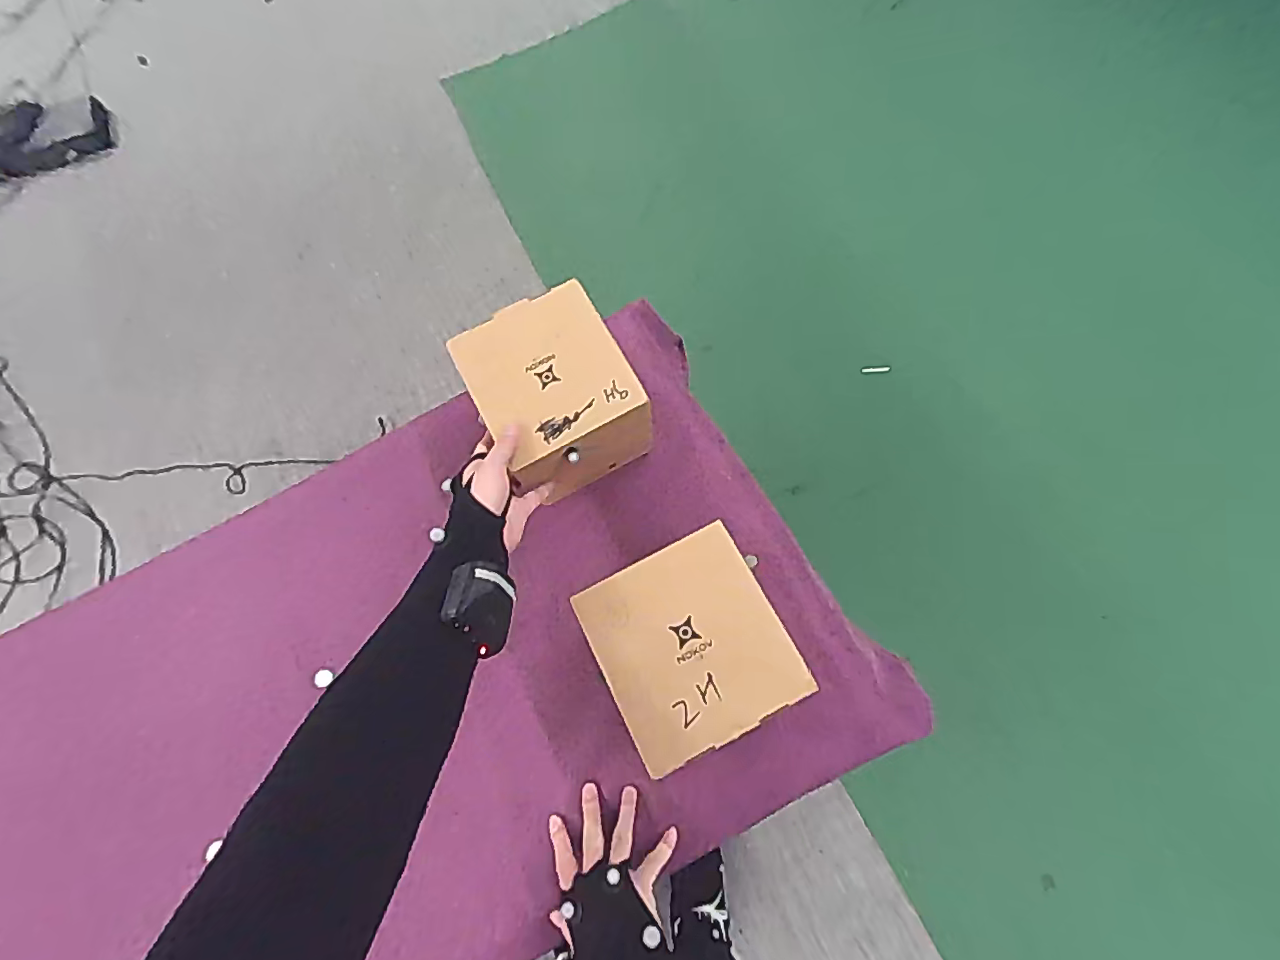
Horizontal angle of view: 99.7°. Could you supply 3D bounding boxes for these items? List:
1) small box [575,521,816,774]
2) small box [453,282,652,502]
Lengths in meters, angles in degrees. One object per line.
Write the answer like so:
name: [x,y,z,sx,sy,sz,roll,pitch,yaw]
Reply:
small box: [0.052,0.171,0.567,0.168,0.176,0.179,-27,71,-3]
small box: [-0.096,-0.096,0.662,0.168,0.176,0.179,-28,75,-5]
